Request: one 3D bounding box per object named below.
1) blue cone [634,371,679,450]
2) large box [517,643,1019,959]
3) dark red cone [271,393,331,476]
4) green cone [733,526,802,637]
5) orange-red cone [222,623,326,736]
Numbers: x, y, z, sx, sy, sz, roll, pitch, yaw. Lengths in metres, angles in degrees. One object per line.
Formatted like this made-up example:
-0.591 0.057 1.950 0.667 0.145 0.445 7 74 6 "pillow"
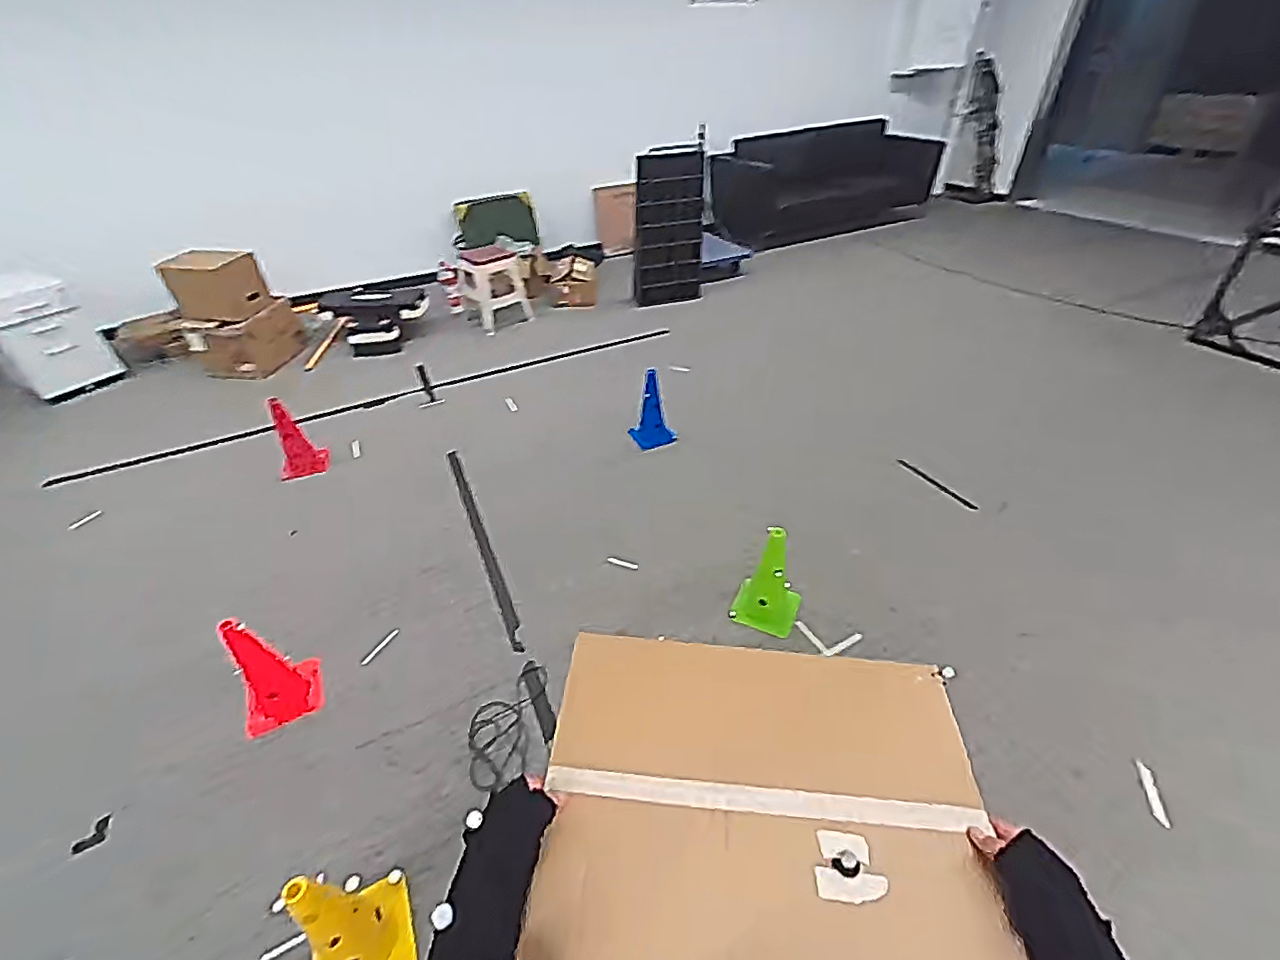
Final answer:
0.074 -0.344 2.597 0.192 0.380 0.193 -15 40 -17 "blue cone"
0.105 0.412 0.604 0.408 0.320 0.320 4 43 3 "large box"
-1.587 -0.218 2.472 0.201 0.394 0.202 -14 40 -15 "dark red cone"
0.433 0.298 1.736 0.200 0.368 0.202 16 40 21 "green cone"
-1.074 0.529 1.538 0.198 0.360 0.199 -21 43 -20 "orange-red cone"
